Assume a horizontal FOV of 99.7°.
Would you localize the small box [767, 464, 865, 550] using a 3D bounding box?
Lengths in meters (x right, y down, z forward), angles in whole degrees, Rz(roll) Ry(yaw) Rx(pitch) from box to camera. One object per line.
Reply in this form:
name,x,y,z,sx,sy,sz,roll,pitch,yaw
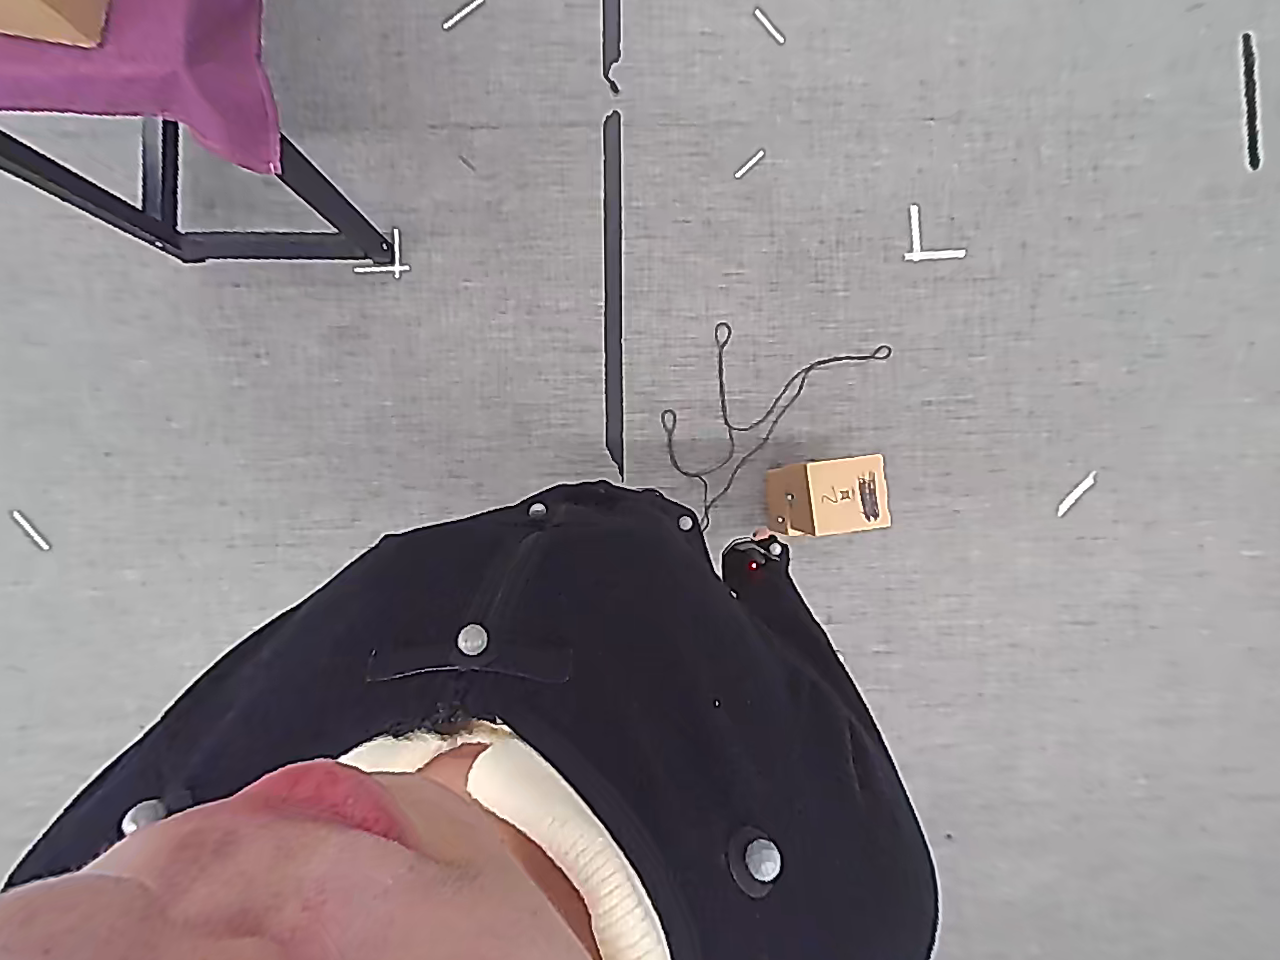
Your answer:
small box,0.449,0.066,1.397,0.179,0.176,0.168,-9,109,-19
